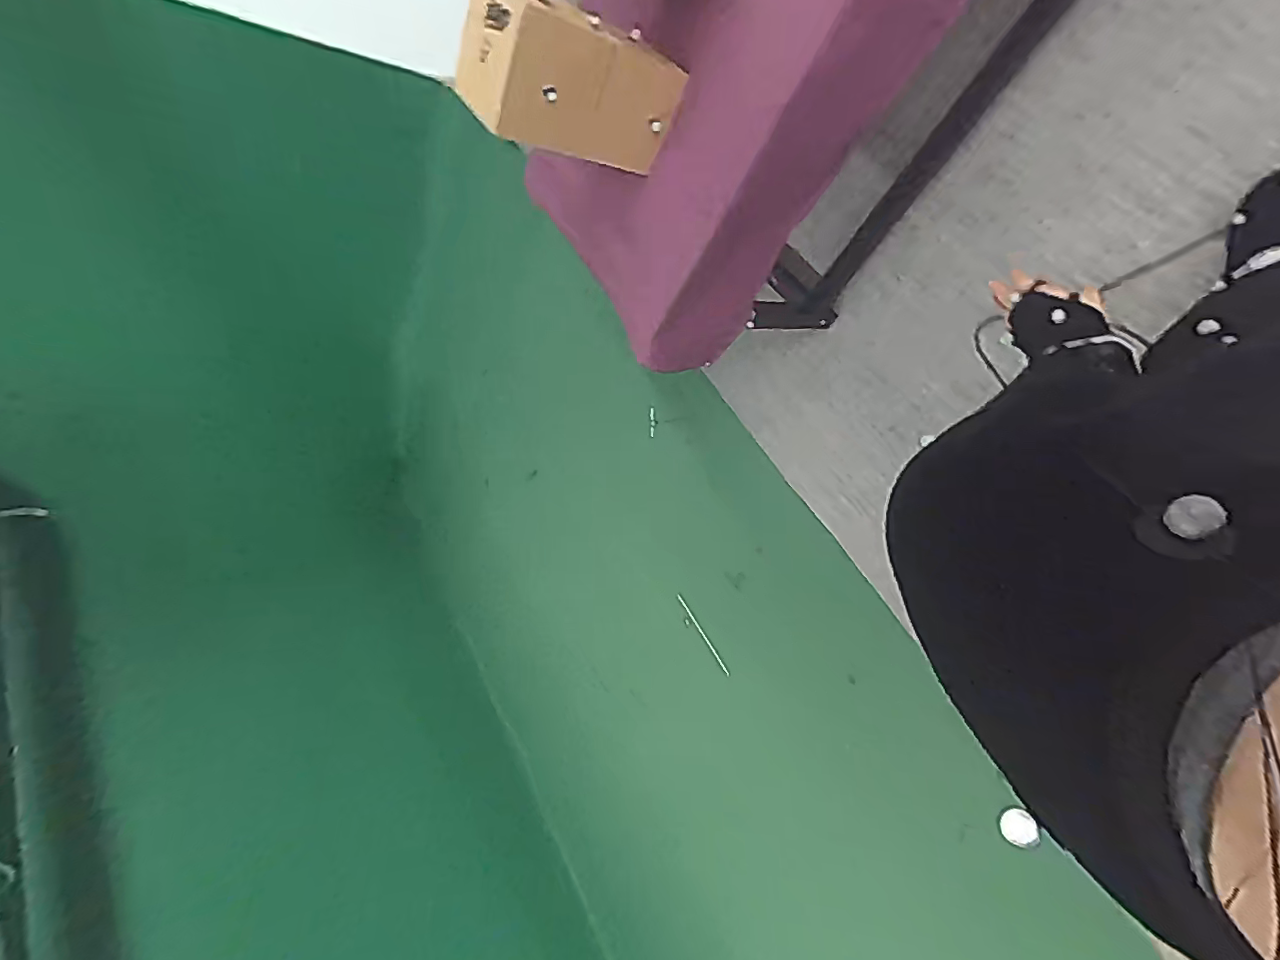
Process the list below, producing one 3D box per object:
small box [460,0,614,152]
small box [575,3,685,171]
[{"bbox_3d":[-0.165,-0.673,0.878,0.168,0.176,0.179,55,136,23],"label":"small box"},{"bbox_3d":[-0.044,-0.703,0.985,0.168,0.176,0.179,55,135,23],"label":"small box"}]
